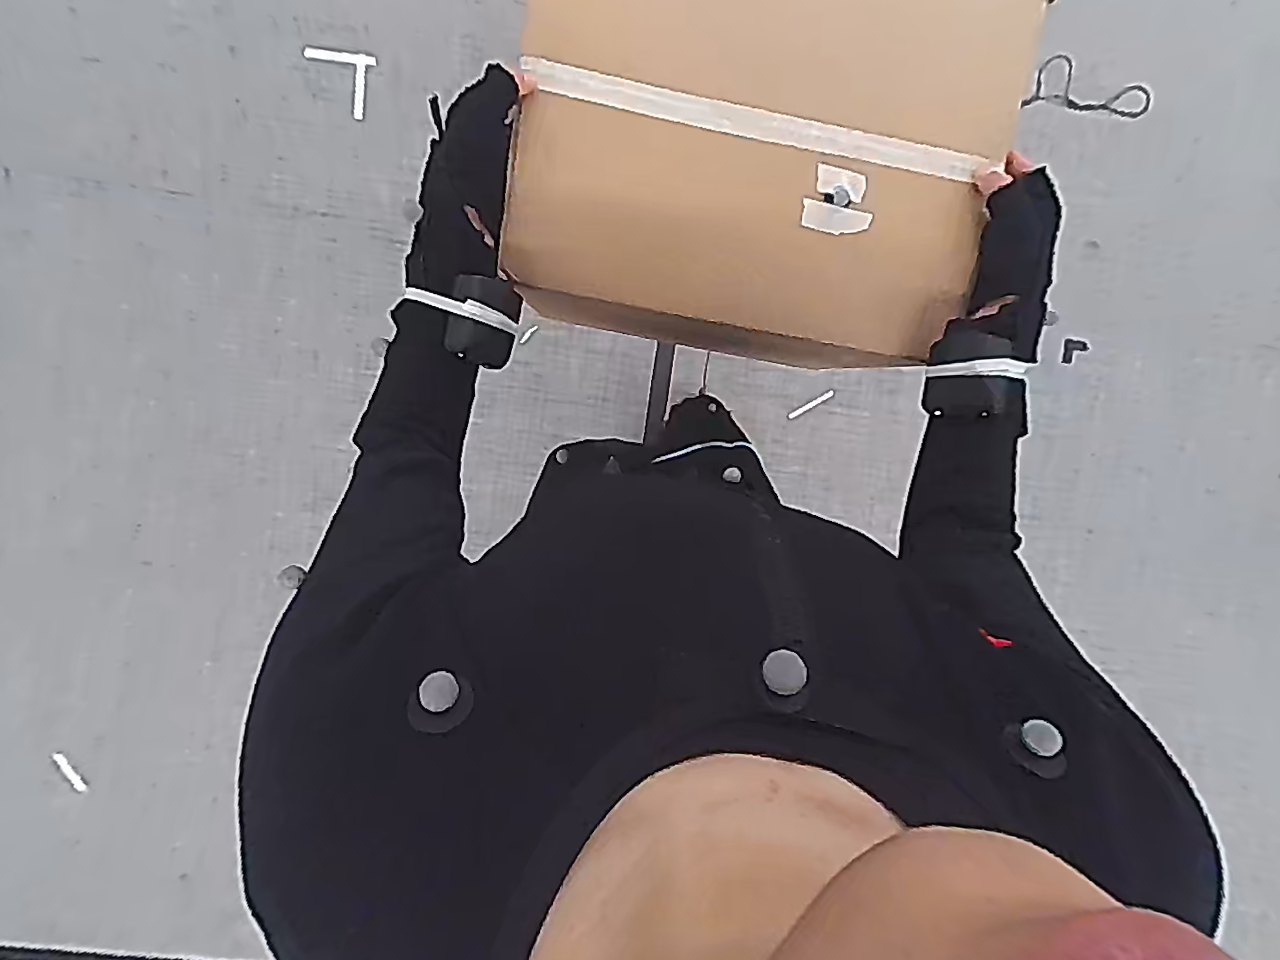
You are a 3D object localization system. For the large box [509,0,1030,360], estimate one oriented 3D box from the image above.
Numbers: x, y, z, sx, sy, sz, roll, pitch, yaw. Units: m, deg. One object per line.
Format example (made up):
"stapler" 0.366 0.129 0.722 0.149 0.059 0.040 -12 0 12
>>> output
"large box" 0.092 -0.319 0.594 0.408 0.320 0.320 8 102 -6
